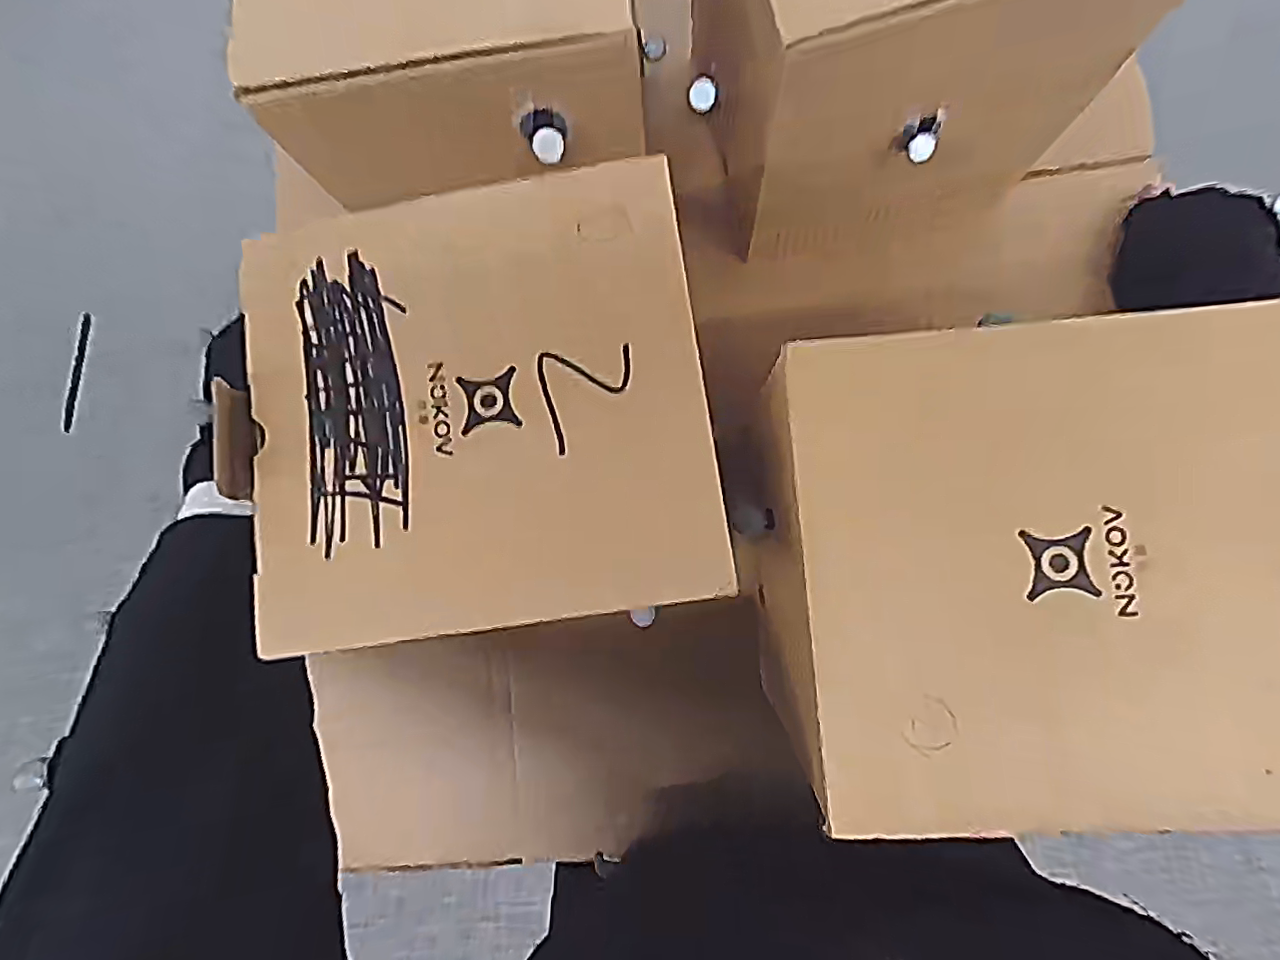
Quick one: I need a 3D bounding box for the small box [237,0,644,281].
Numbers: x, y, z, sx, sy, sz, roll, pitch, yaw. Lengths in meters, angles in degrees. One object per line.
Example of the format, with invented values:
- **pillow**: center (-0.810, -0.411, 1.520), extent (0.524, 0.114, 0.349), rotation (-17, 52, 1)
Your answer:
- **small box**: center (-0.092, -0.241, 0.322), extent (0.179, 0.176, 0.168), rotation (-6, 83, 6)
